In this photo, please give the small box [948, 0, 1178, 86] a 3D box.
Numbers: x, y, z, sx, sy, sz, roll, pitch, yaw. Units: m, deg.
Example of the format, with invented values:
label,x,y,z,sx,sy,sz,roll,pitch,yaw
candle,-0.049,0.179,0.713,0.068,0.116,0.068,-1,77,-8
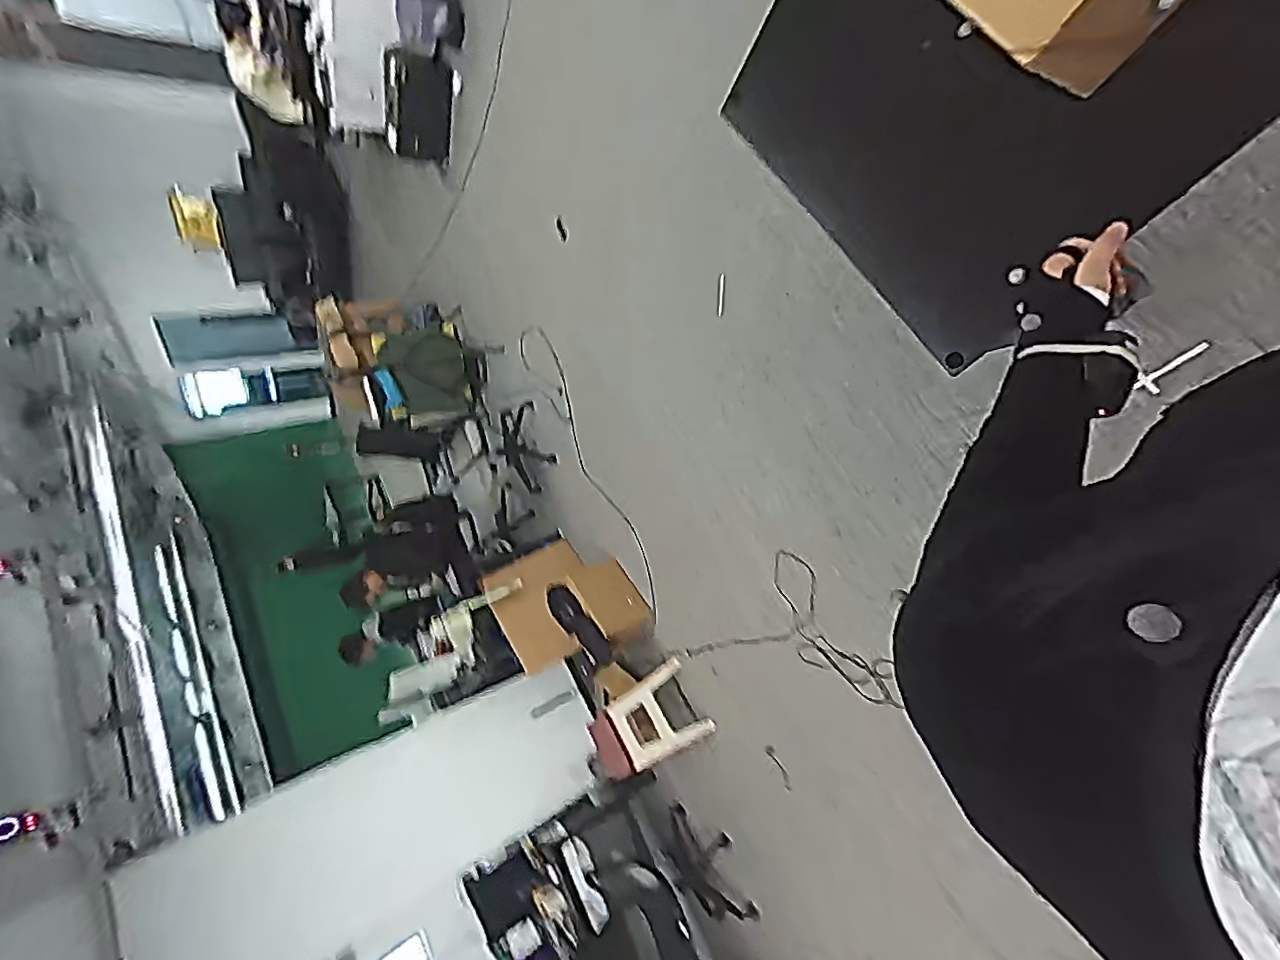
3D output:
label,x,y,z,sx,sy,sz,roll,pitch,yaw
small box,0.394,-0.496,0.487,0.179,0.176,0.168,60,144,18
